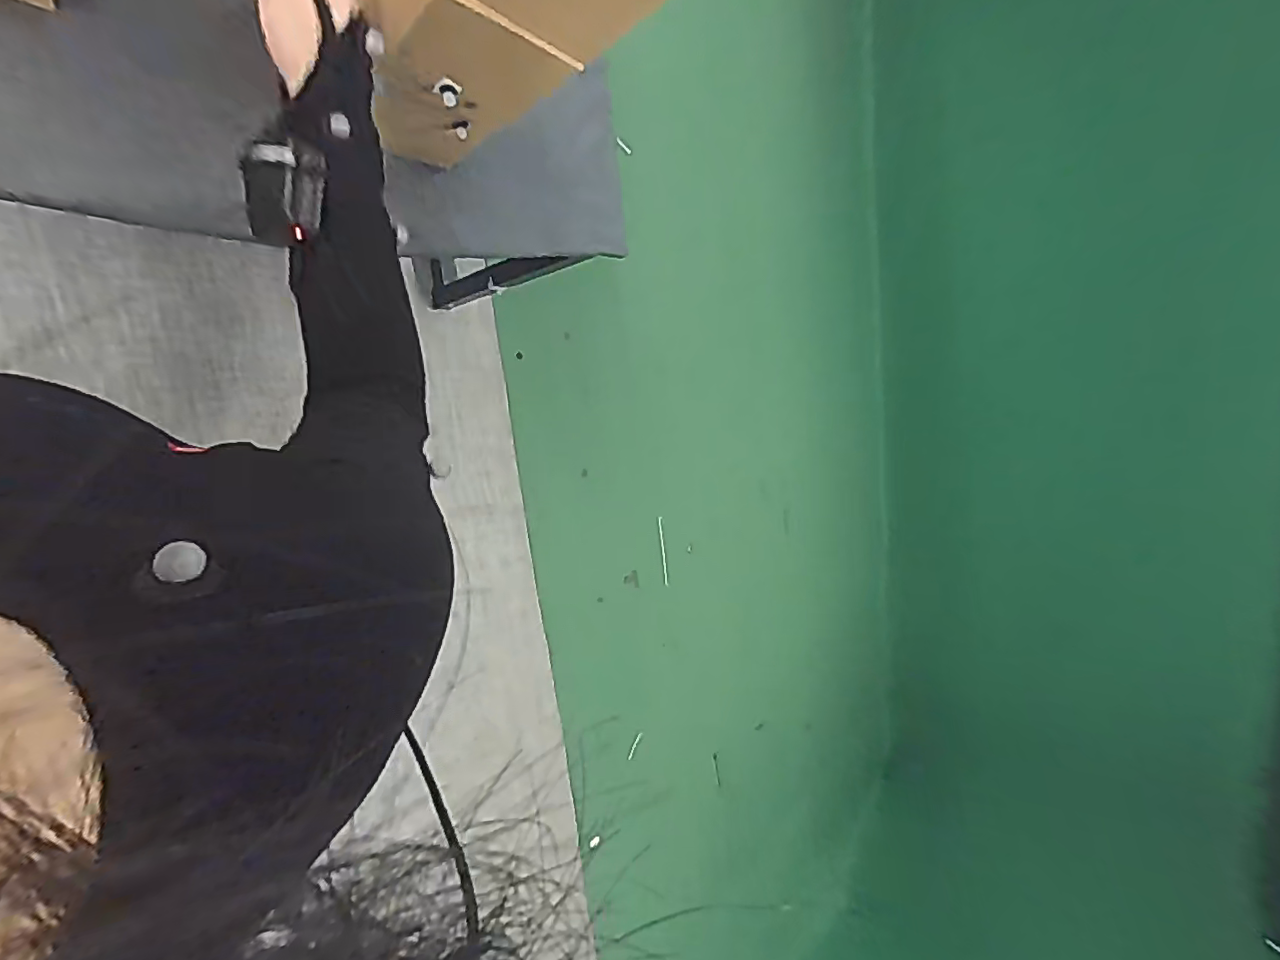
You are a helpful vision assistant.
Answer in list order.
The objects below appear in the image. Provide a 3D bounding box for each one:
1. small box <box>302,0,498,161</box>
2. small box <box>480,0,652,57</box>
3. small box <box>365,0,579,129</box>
[{"bbox_3d":[-0.299,-0.536,0.688,0.179,0.176,0.168,-11,99,-46],"label":"small box"},{"bbox_3d":[-0.063,-0.518,0.464,0.179,0.176,0.168,-6,96,-44],"label":"small box"},{"bbox_3d":[-0.183,-0.522,0.576,0.168,0.176,0.179,-7,99,-44],"label":"small box"}]
